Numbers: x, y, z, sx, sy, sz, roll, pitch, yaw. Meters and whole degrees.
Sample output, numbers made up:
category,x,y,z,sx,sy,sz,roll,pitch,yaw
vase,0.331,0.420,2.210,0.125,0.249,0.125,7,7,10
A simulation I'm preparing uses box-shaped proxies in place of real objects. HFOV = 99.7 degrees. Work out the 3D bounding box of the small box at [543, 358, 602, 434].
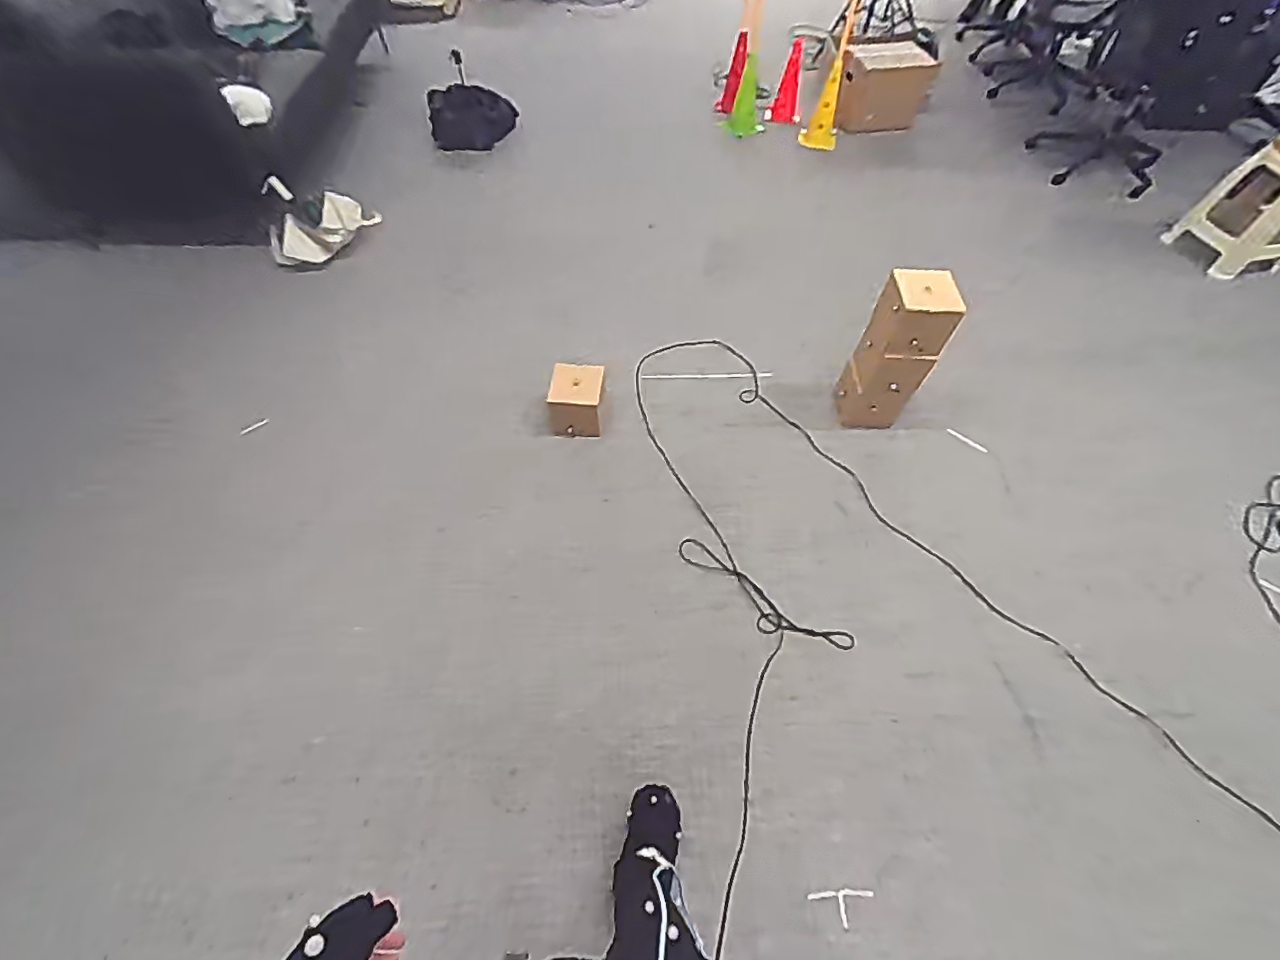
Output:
category,x,y,z,sx,sy,sz,roll,pitch,yaw
small box,-0.217,-0.277,1.787,0.168,0.176,0.179,4,57,2

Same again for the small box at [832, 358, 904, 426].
category,x,y,z,sx,sy,sz,roll,pitch,yaw
small box,0.769,-0.297,1.837,0.179,0.176,0.168,1,57,-1

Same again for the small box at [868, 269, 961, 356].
category,x,y,z,sx,sy,sz,roll,pitch,yaw
small box,0.784,-0.482,1.568,0.168,0.176,0.179,2,57,-1

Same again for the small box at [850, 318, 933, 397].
category,x,y,z,sx,sy,sz,roll,pitch,yaw
small box,0.780,-0.386,1.699,0.168,0.176,0.179,2,58,-1
